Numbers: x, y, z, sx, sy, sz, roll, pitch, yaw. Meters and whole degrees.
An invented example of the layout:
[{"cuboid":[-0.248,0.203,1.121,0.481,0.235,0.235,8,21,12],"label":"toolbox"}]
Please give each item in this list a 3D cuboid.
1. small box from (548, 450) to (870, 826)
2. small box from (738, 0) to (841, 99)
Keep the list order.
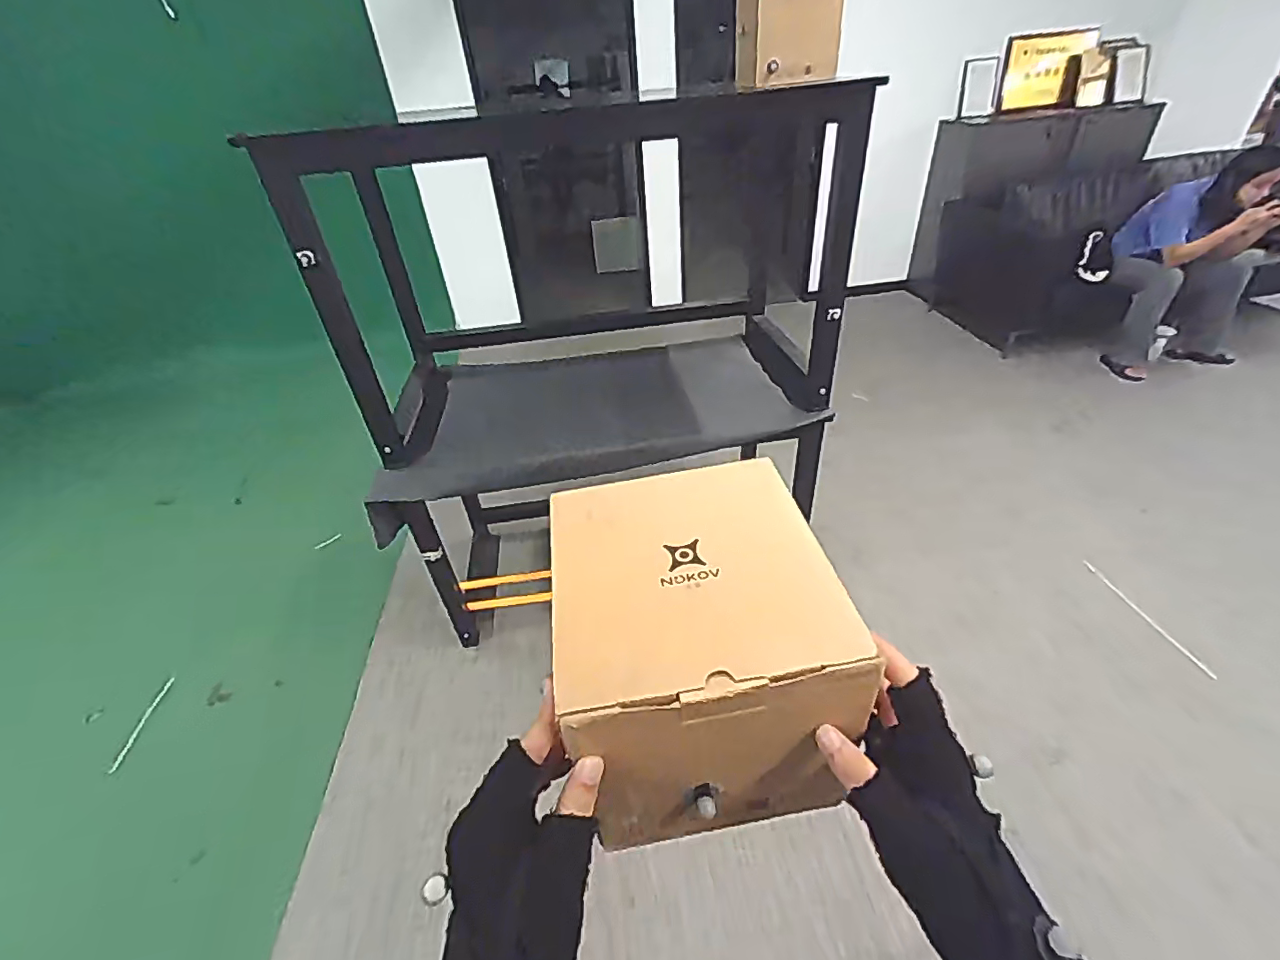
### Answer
[{"cuboid":[0.032,0.104,0.381,0.168,0.176,0.179,-10,38,-3],"label":"small box"},{"cuboid":[0.298,-0.888,1.100,0.168,0.176,0.179,-6,35,-1],"label":"small box"}]
